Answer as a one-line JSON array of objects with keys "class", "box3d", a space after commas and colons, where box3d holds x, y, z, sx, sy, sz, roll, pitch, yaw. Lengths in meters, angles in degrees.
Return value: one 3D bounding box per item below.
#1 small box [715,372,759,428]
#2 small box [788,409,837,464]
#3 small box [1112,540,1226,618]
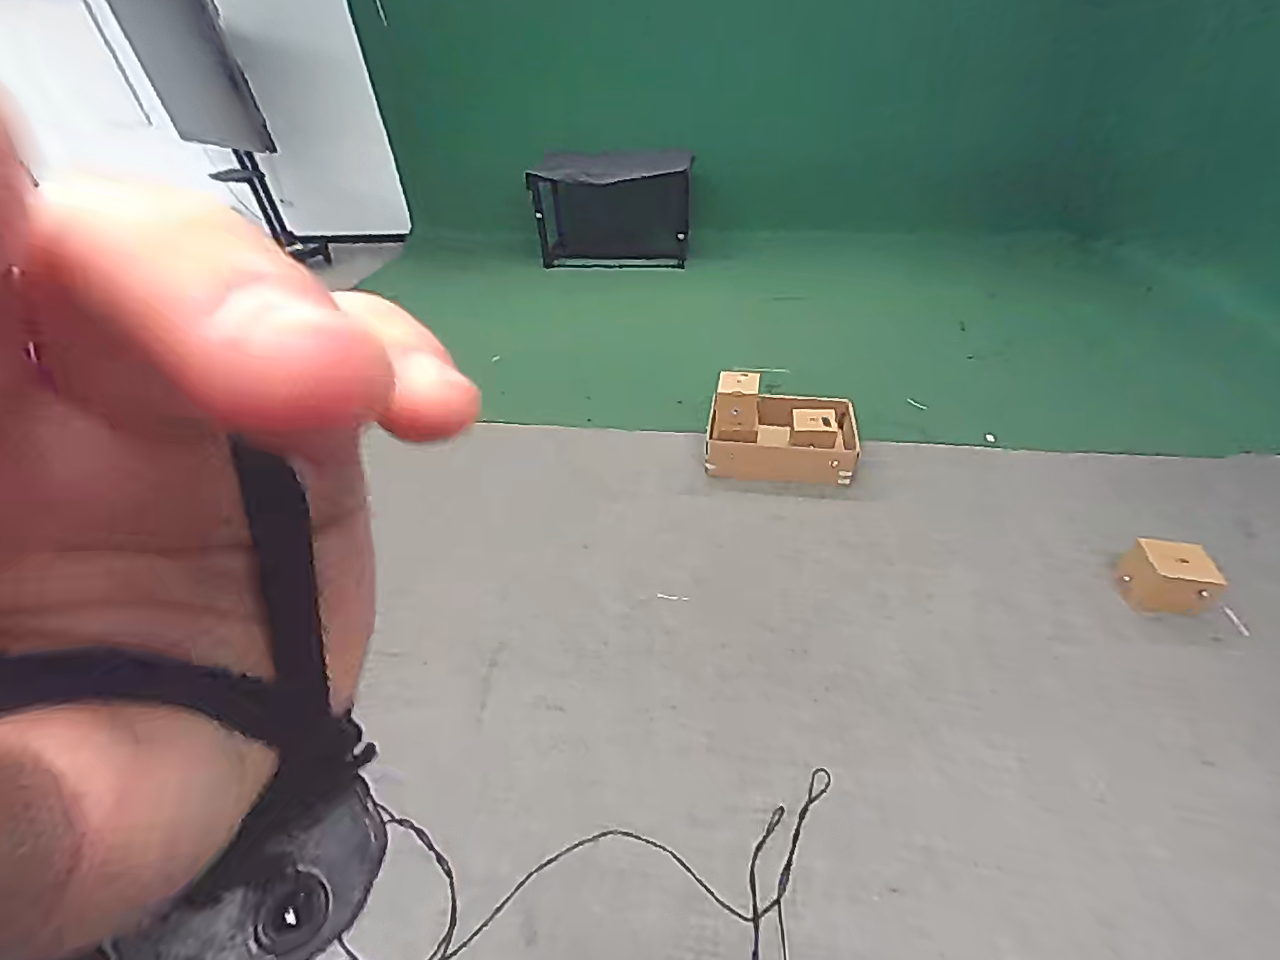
[{"class": "small box", "box3d": [0.408, -0.334, 2.273, 0.168, 0.176, 0.179, 6, 42, 11]}, {"class": "small box", "box3d": [0.735, -0.185, 2.324, 0.179, 0.176, 0.168, 4, 41, 10]}, {"class": "small box", "box3d": [1.677, 0.320, 1.727, 0.179, 0.176, 0.168, 7, 40, 13]}]
